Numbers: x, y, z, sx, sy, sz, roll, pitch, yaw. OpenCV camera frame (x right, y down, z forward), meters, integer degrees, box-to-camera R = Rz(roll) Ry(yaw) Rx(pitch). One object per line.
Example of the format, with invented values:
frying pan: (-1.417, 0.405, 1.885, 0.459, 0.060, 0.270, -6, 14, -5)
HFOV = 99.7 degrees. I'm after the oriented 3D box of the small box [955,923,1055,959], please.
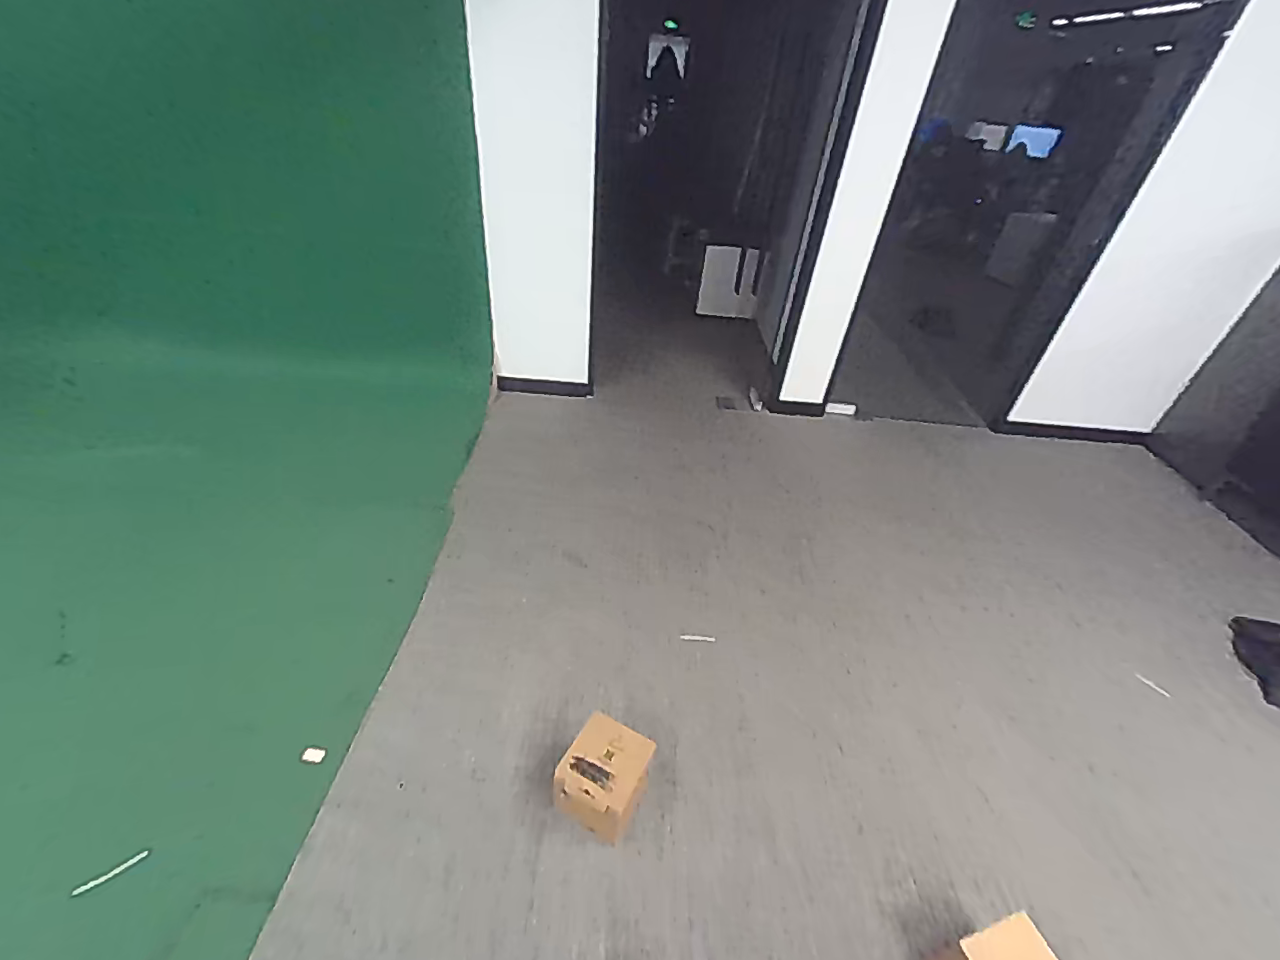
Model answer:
small box: (0.678, 0.963, 0.985, 0.168, 0.176, 0.179, -8, 40, -18)
